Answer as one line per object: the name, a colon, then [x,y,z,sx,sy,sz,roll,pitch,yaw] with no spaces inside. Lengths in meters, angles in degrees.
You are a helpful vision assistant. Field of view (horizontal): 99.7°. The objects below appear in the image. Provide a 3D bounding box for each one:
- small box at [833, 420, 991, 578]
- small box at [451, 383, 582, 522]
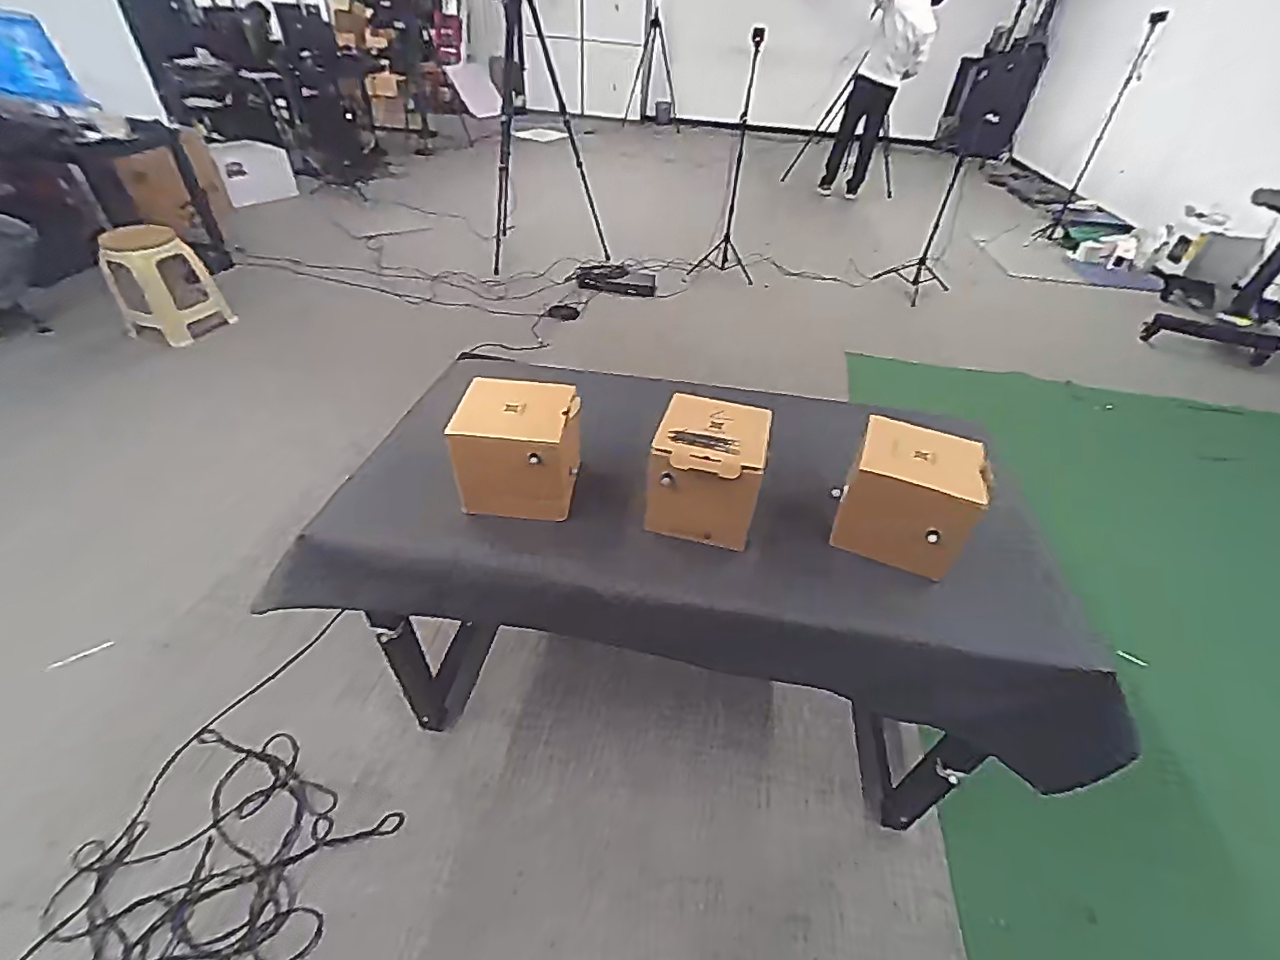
small box: [0.432,0.032,0.872,0.179,0.176,0.168,18,41,17]
small box: [-0.195,-0.046,0.909,0.179,0.176,0.168,5,40,0]
